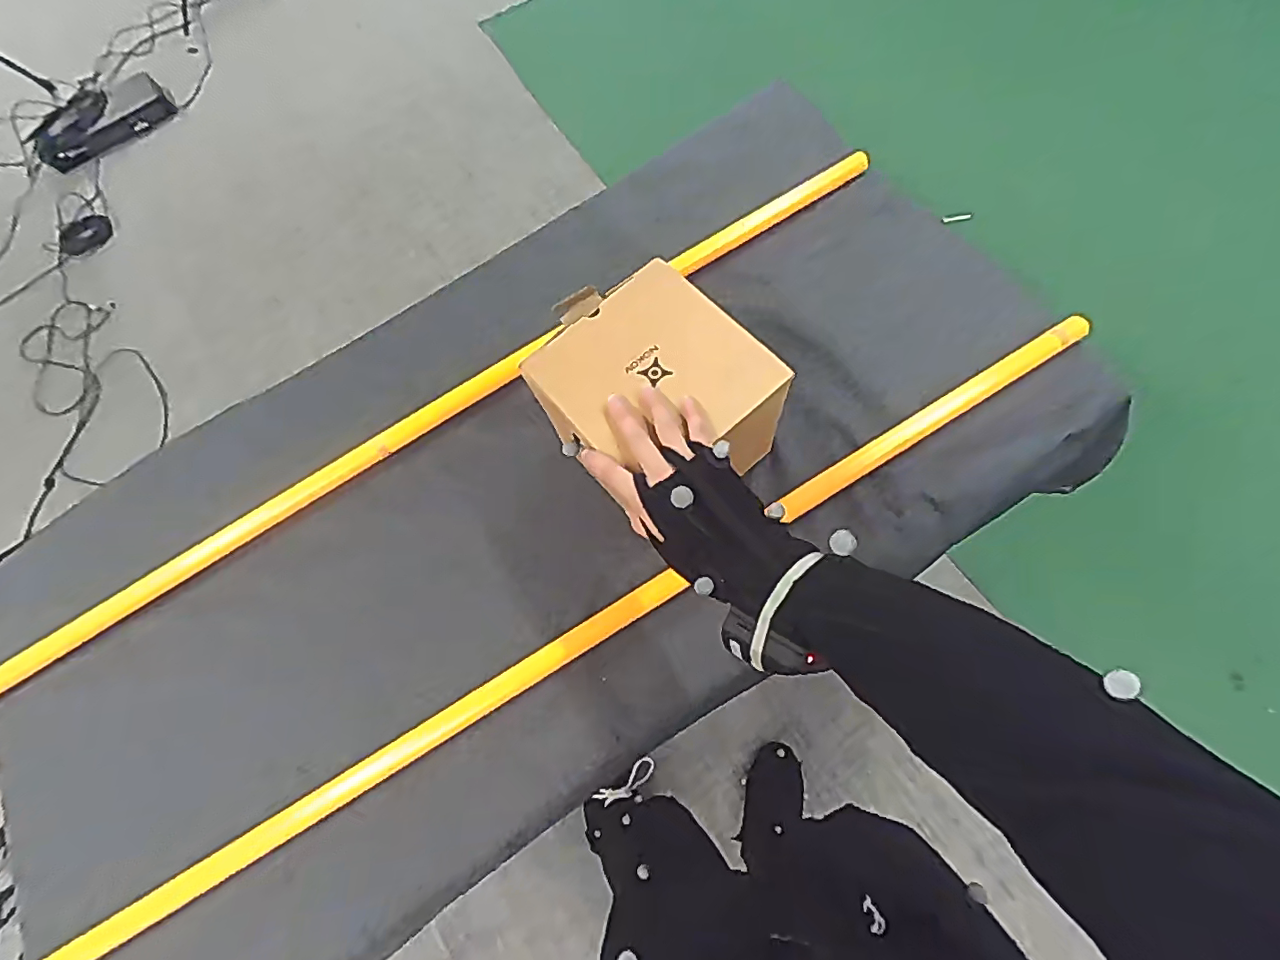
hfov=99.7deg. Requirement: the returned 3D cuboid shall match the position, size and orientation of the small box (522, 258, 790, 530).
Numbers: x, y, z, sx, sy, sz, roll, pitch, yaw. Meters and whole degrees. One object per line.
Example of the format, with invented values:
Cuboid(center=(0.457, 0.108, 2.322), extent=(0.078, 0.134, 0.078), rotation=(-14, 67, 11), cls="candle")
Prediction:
Cuboid(center=(0.020, -0.068, 0.533), extent=(0.168, 0.176, 0.179), rotation=(-40, 70, -7), cls="small box")
